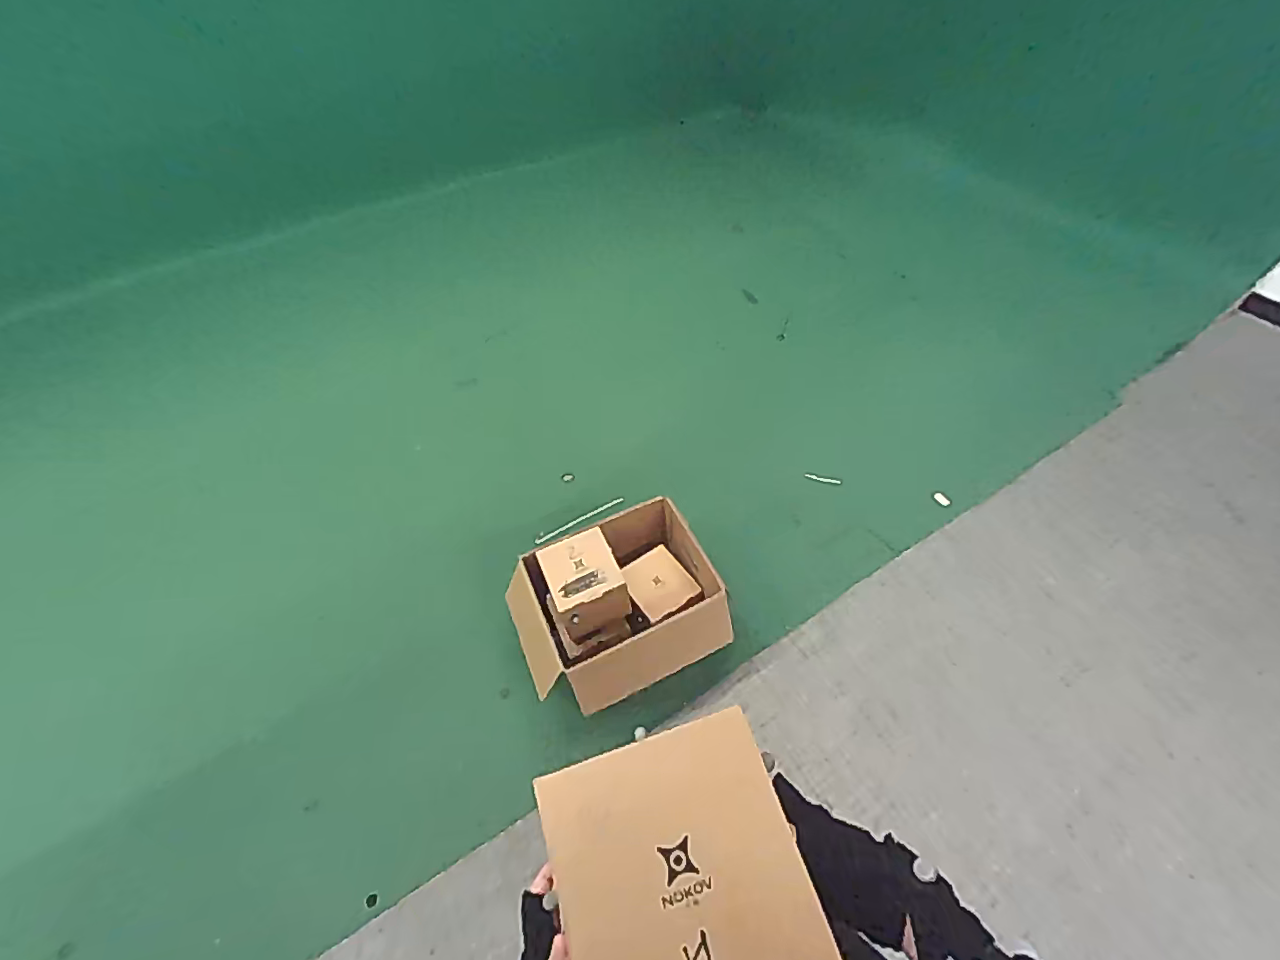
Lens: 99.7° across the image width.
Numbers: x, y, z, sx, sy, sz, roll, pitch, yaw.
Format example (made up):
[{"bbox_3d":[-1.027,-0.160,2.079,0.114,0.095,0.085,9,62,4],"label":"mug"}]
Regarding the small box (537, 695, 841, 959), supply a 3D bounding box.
[{"bbox_3d":[0.024,0.299,0.435,0.168,0.176,0.179,-16,61,-9],"label":"small box"}]
